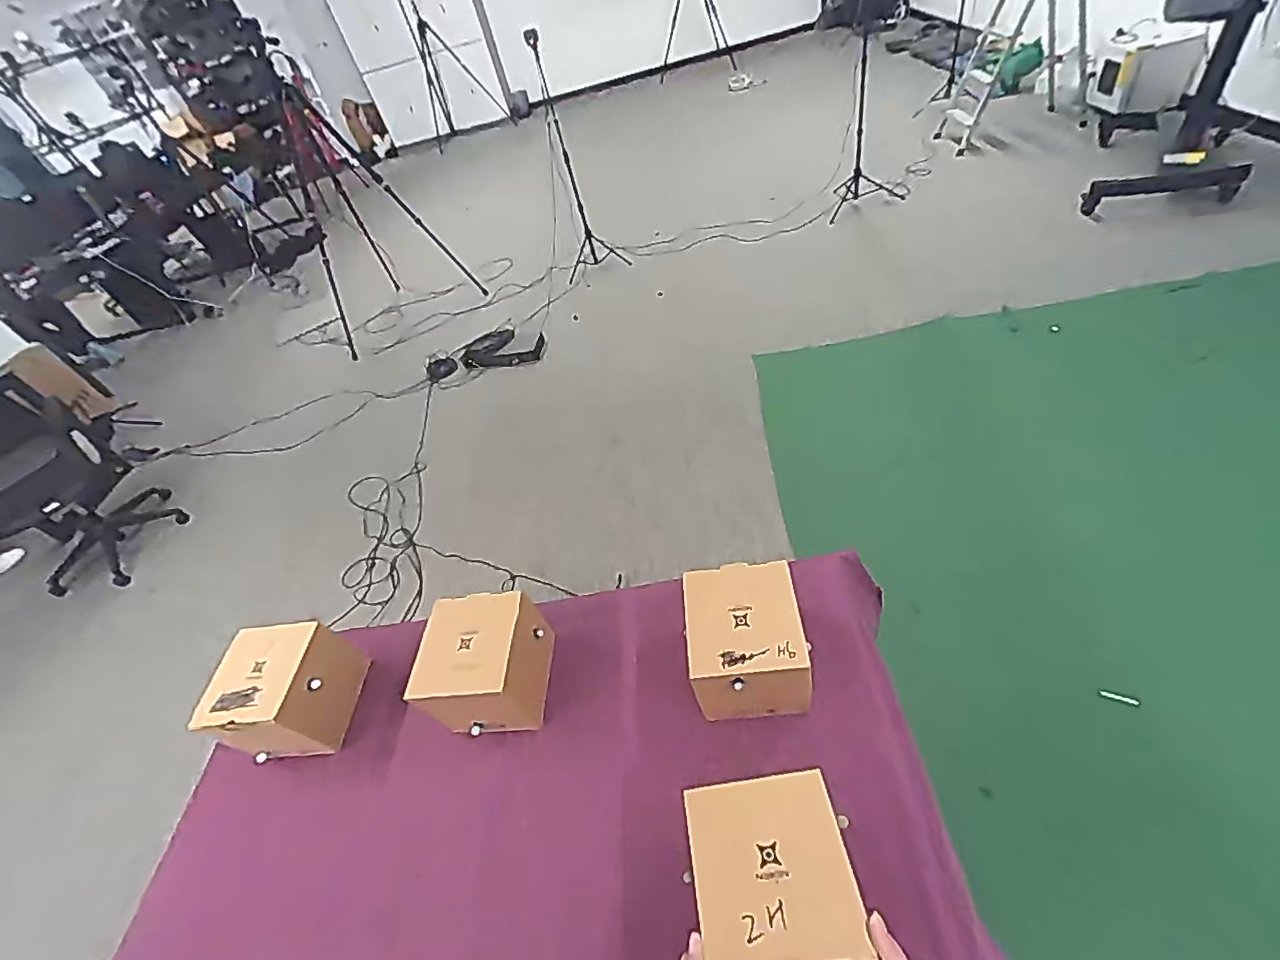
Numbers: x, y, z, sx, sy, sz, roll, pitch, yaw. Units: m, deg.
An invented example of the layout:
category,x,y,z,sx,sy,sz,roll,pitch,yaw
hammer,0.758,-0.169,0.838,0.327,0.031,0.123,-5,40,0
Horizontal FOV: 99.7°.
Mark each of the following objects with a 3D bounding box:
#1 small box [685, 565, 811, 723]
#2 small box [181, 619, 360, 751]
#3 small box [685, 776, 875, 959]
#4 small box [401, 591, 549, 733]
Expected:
category,x,y,z,sx,sy,sz,roll,pitch,yaw
small box,0.164,0.257,0.843,0.168,0.176,0.179,-8,47,9
small box,-0.634,0.369,0.958,0.168,0.176,0.179,-7,47,8
small box,0.150,0.476,0.622,0.168,0.176,0.179,-10,38,4
small box,-0.264,0.310,0.915,0.168,0.176,0.179,-7,48,10
